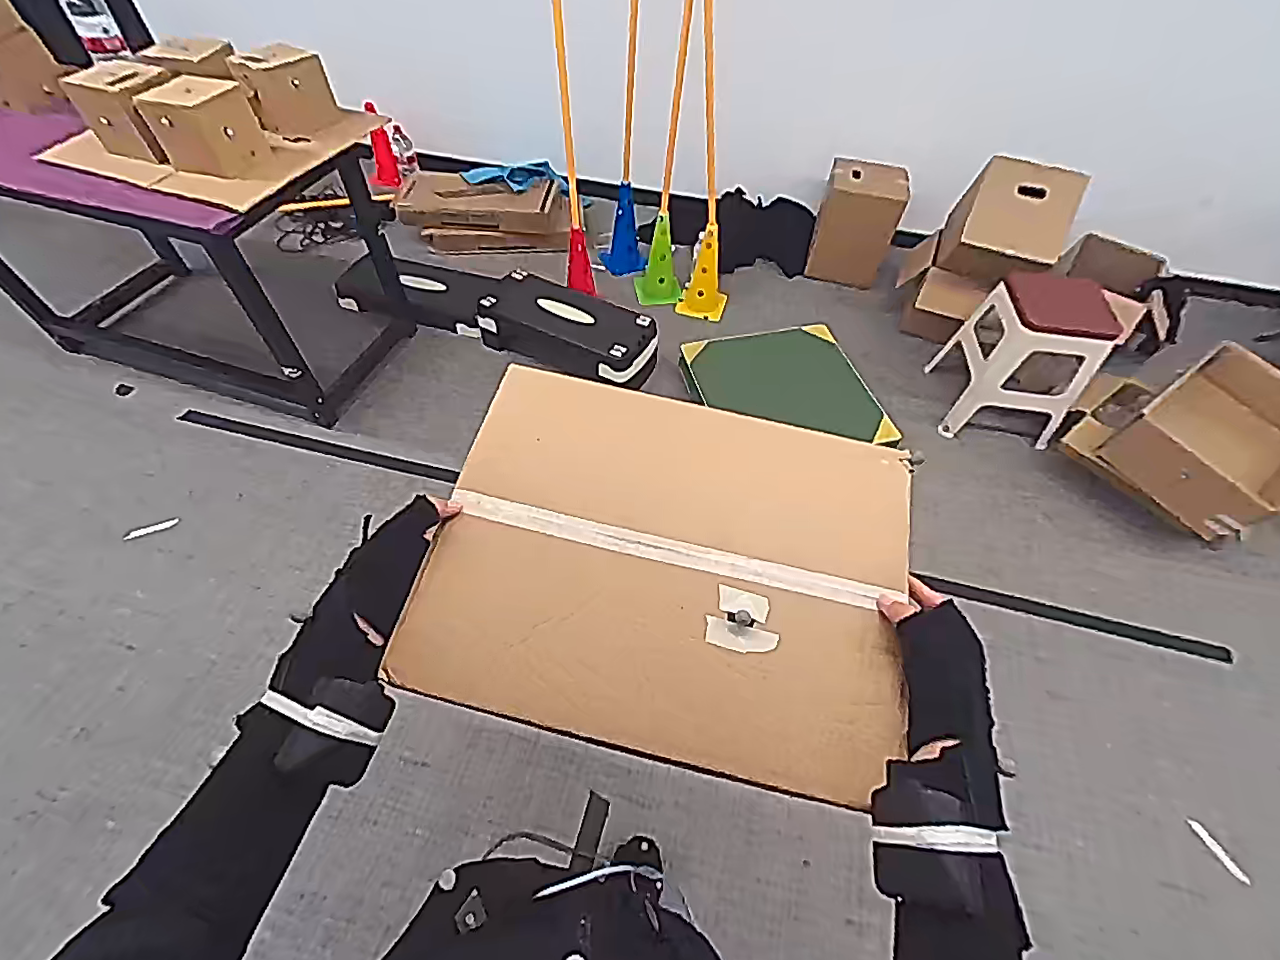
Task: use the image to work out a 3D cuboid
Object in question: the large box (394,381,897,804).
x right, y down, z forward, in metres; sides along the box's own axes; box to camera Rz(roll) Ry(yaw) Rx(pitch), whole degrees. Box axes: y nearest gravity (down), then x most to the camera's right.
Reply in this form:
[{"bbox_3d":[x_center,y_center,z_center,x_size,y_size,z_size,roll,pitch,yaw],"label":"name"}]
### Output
[{"bbox_3d":[0.019,0.136,0.613,0.408,0.320,0.320,13,65,3],"label":"large box"}]
